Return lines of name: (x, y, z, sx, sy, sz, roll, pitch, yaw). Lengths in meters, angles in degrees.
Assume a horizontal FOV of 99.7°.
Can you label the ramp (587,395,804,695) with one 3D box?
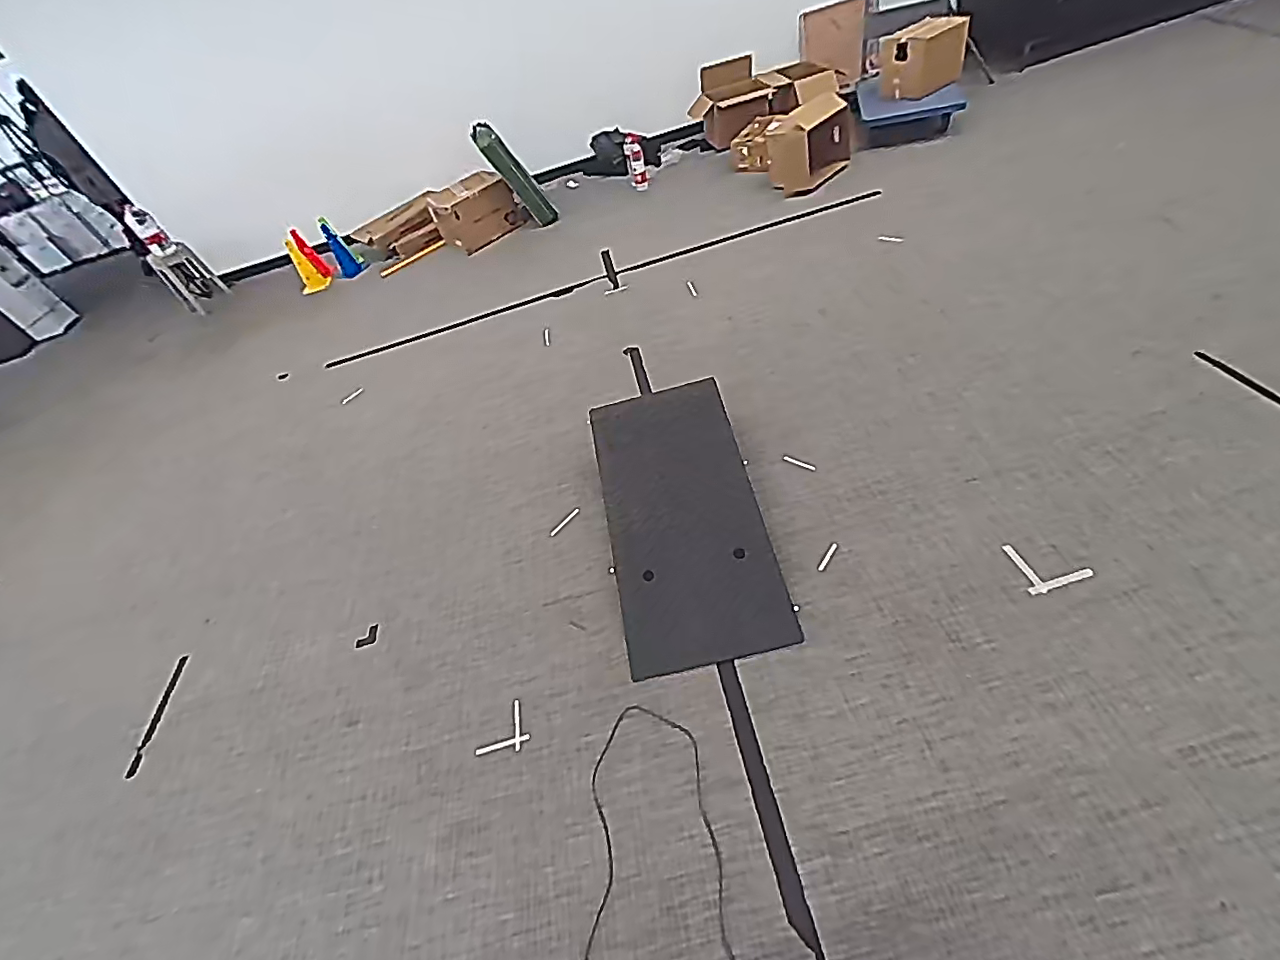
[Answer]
ramp: (0.129, 0.142, 1.781, 0.509, 0.206, 0.991, -17, 45, 1)
